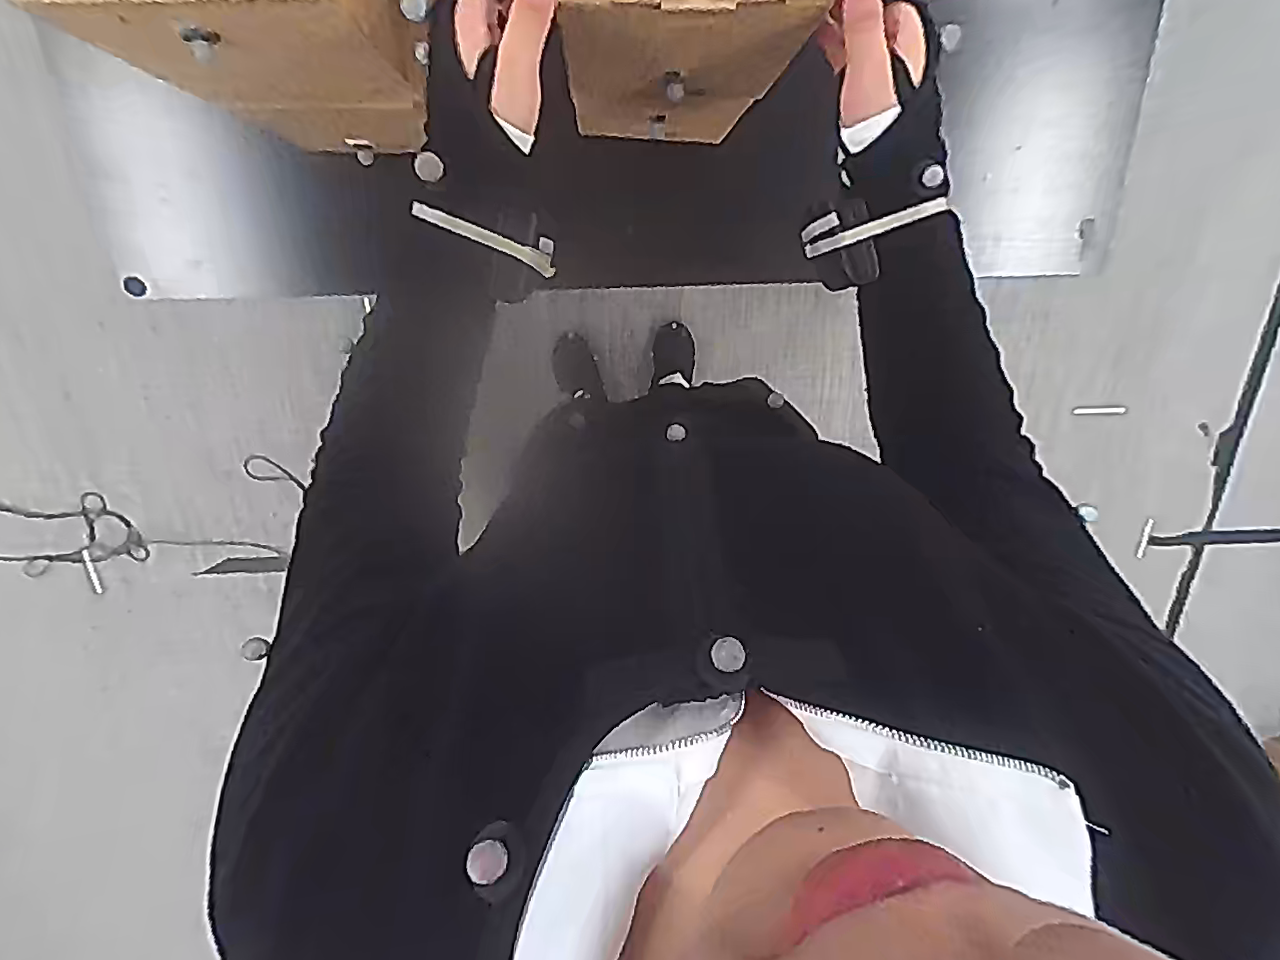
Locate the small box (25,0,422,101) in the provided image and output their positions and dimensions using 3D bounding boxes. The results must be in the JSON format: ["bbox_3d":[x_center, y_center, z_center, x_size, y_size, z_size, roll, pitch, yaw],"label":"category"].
[{"bbox_3d":[-0.266,-0.368,0.350,0.179,0.176,0.168,-4,109,-3],"label":"small box"}]

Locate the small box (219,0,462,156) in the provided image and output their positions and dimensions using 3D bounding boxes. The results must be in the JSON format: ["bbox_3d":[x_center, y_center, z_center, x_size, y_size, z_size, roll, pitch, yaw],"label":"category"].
[{"bbox_3d":[-0.277,-0.422,0.504,0.168,0.176,0.179,-2,110,-2],"label":"small box"}]

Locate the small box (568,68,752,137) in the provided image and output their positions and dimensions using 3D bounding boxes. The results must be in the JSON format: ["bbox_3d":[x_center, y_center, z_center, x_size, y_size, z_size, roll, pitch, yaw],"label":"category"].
[{"bbox_3d":[0.020,-0.448,0.516,0.168,0.176,0.179,1,109,-4],"label":"small box"}]

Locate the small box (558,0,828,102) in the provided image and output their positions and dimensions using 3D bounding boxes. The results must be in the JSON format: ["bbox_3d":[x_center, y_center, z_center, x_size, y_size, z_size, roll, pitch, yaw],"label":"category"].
[{"bbox_3d":[0.025,-0.385,0.362,0.168,0.176,0.179,-3,109,-2],"label":"small box"}]
